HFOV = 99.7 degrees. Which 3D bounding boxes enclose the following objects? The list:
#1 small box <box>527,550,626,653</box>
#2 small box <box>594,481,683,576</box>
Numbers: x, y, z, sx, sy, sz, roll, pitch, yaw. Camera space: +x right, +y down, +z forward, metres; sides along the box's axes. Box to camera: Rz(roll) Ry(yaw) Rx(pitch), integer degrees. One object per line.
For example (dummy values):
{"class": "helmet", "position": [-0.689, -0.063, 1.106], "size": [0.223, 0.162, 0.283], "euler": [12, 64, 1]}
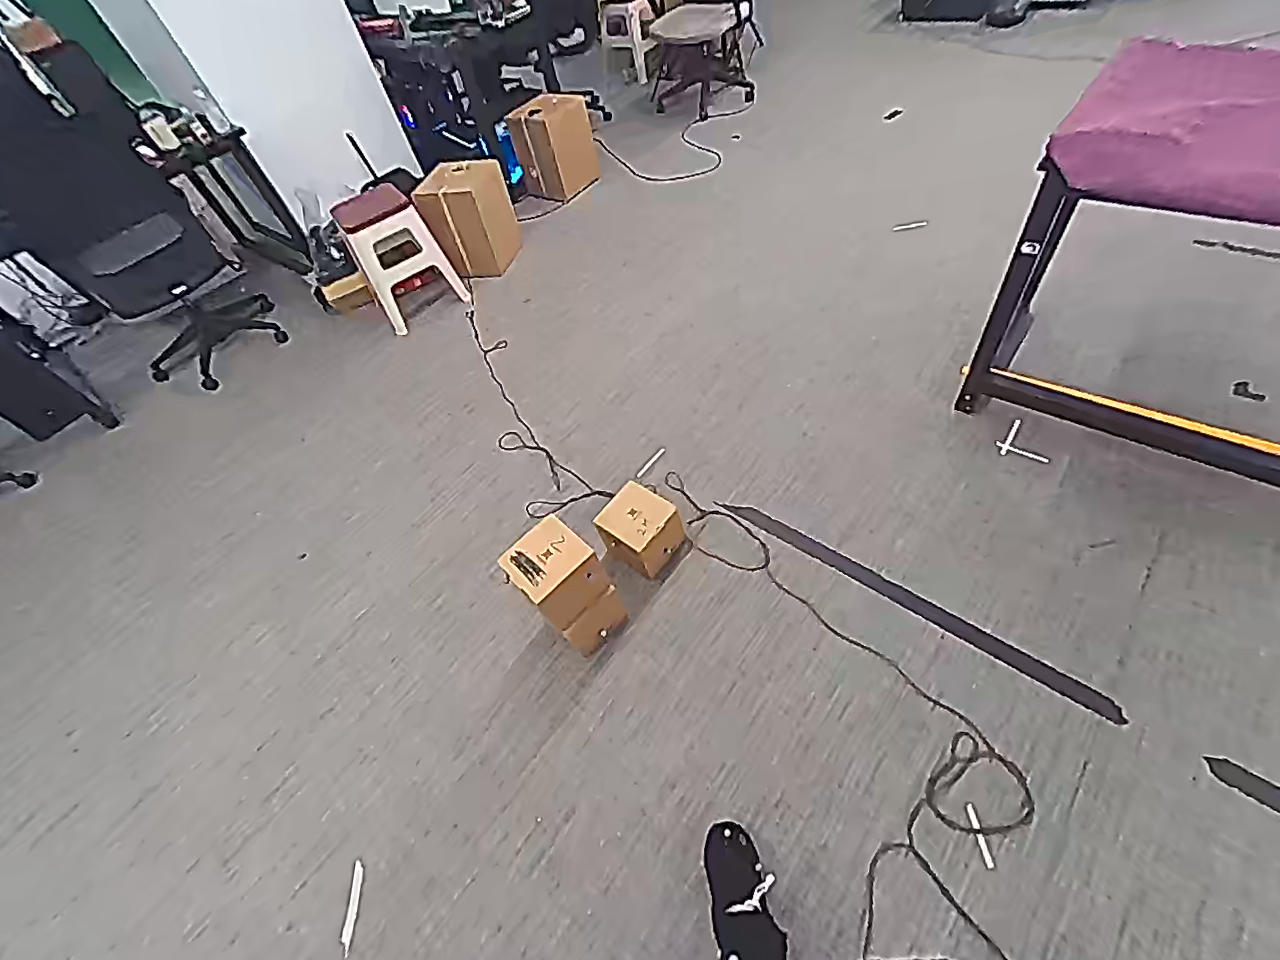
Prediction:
{"class": "small box", "position": [-0.162, 0.322, 1.417], "size": [0.168, 0.176, 0.179], "euler": [-42, 57, -18]}
{"class": "small box", "position": [0.001, 0.140, 1.520], "size": [0.179, 0.176, 0.168], "euler": [31, 67, 29]}
